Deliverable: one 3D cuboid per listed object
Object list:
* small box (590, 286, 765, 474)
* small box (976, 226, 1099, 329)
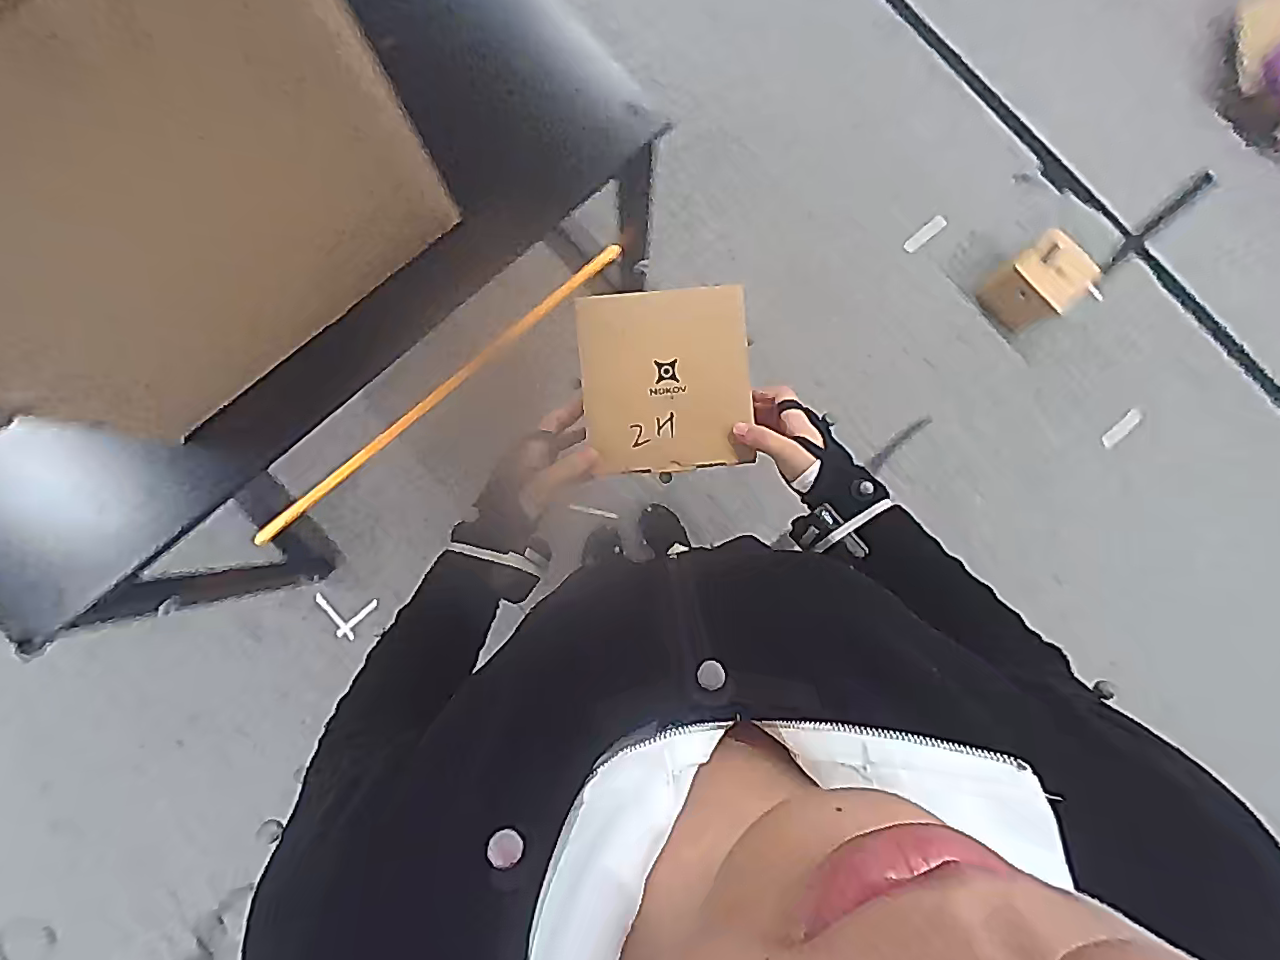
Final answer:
[{"bbox_3d":[0.034,-0.097,0.594,0.168,0.176,0.179,-3,92,0],"label":"small box"},{"bbox_3d":[1.089,-0.551,1.498,0.168,0.176,0.179,-44,89,-4],"label":"small box"}]
